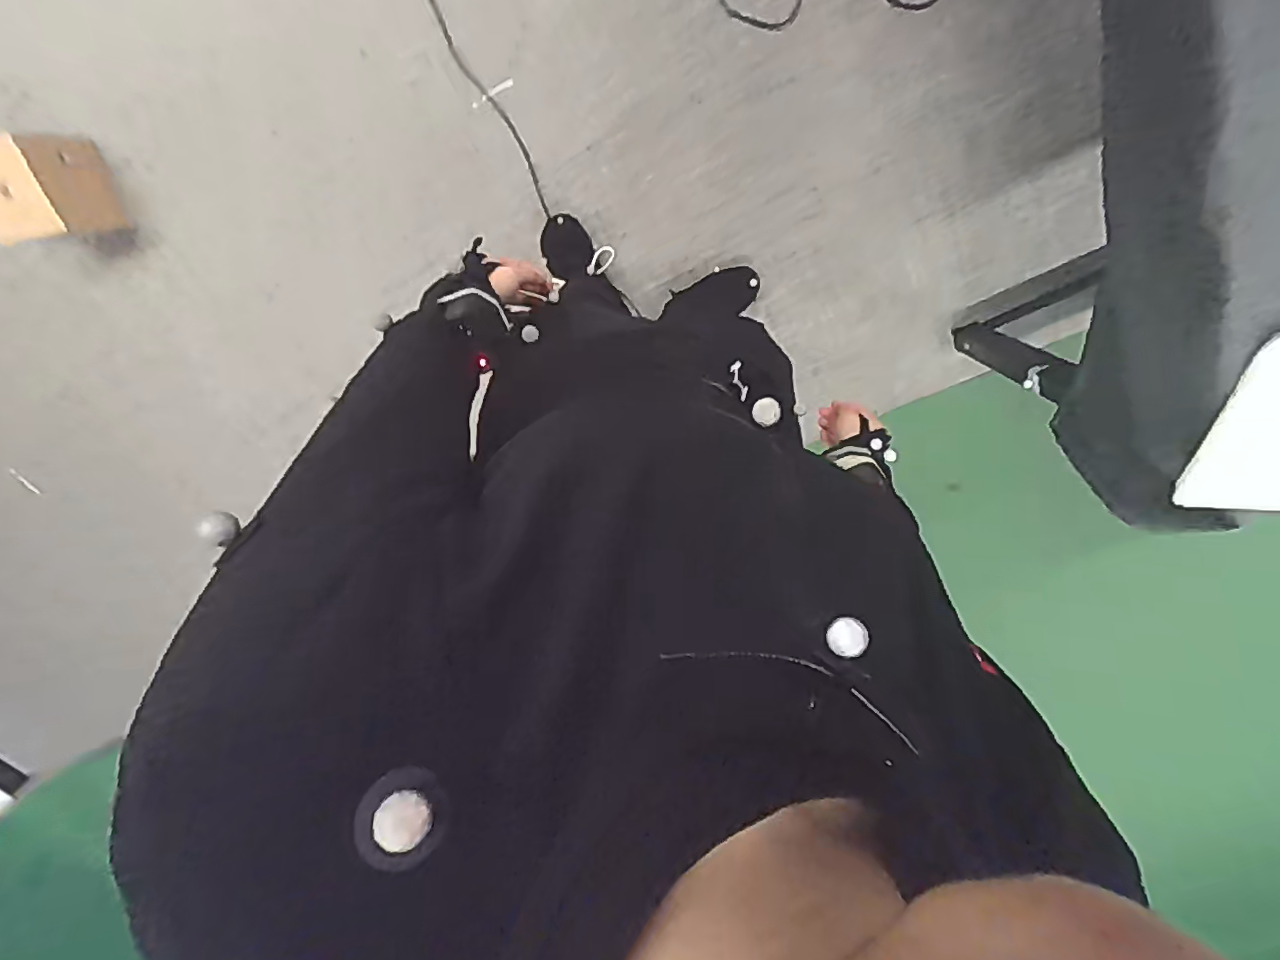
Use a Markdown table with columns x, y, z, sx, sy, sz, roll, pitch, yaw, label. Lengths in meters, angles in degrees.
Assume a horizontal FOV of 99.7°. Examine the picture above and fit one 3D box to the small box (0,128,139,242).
| x | y | z | sx | sy | sz | roll | pitch | yaw | label |
| --- | --- | --- | --- | --- | --- | --- | --- | --- | --- |
| -1.226 | -0.608 | 1.124 | 0.168 | 0.176 | 0.179 | -8 | 118 | 8 | small box |
